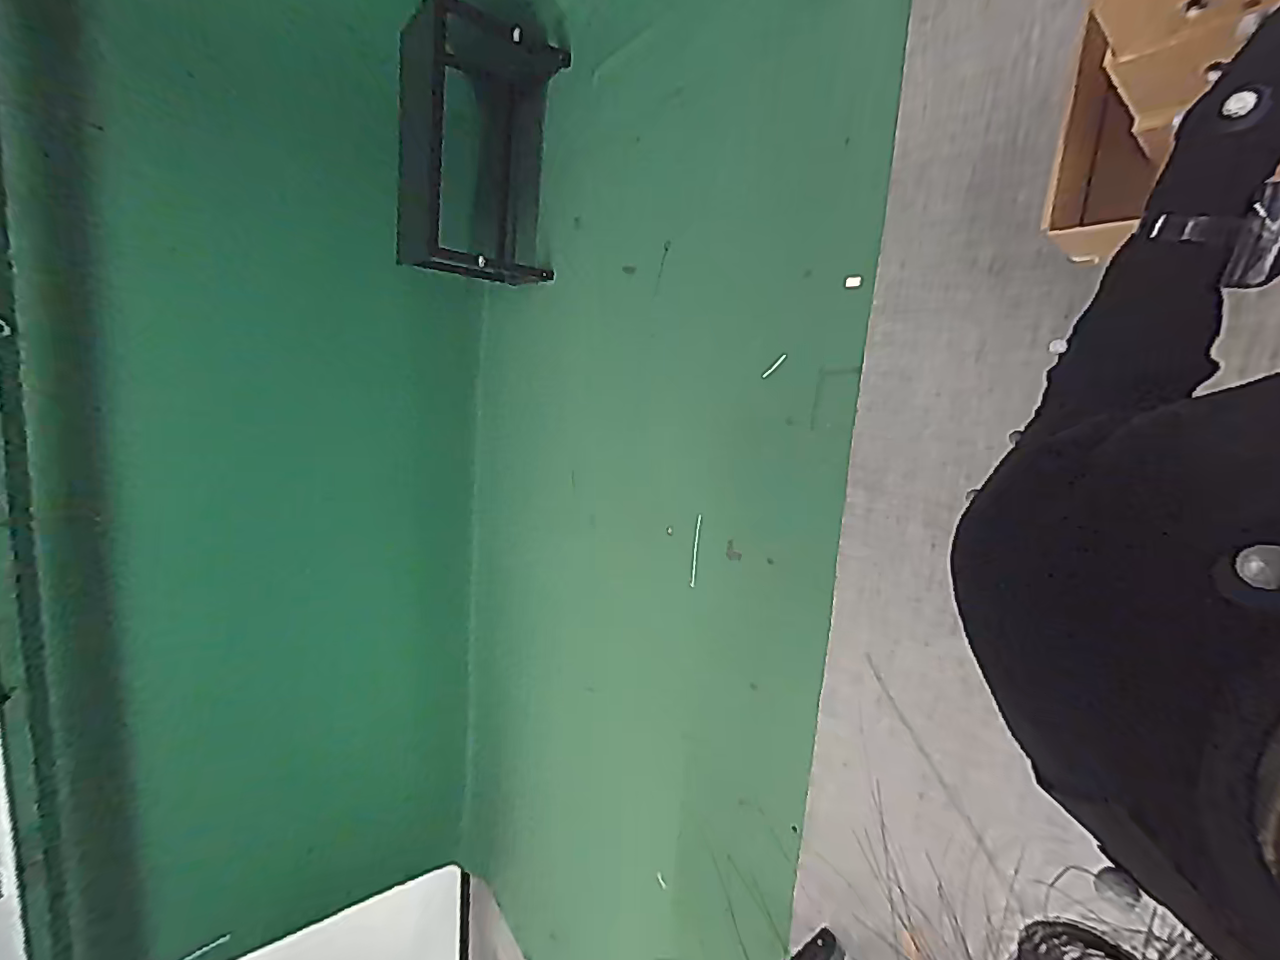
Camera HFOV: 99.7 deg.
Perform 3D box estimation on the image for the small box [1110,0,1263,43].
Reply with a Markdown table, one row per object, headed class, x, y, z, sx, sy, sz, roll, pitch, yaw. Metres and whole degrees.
| class | x | y | z | sx | sy | sz | roll | pitch | yaw |
| --- | --- | --- | --- | --- | --- | --- | --- | --- | --- |
| small box | 0.534 | -0.554 | 0.483 | 0.168 | 0.176 | 0.179 | 14 | 103 | 52 |
